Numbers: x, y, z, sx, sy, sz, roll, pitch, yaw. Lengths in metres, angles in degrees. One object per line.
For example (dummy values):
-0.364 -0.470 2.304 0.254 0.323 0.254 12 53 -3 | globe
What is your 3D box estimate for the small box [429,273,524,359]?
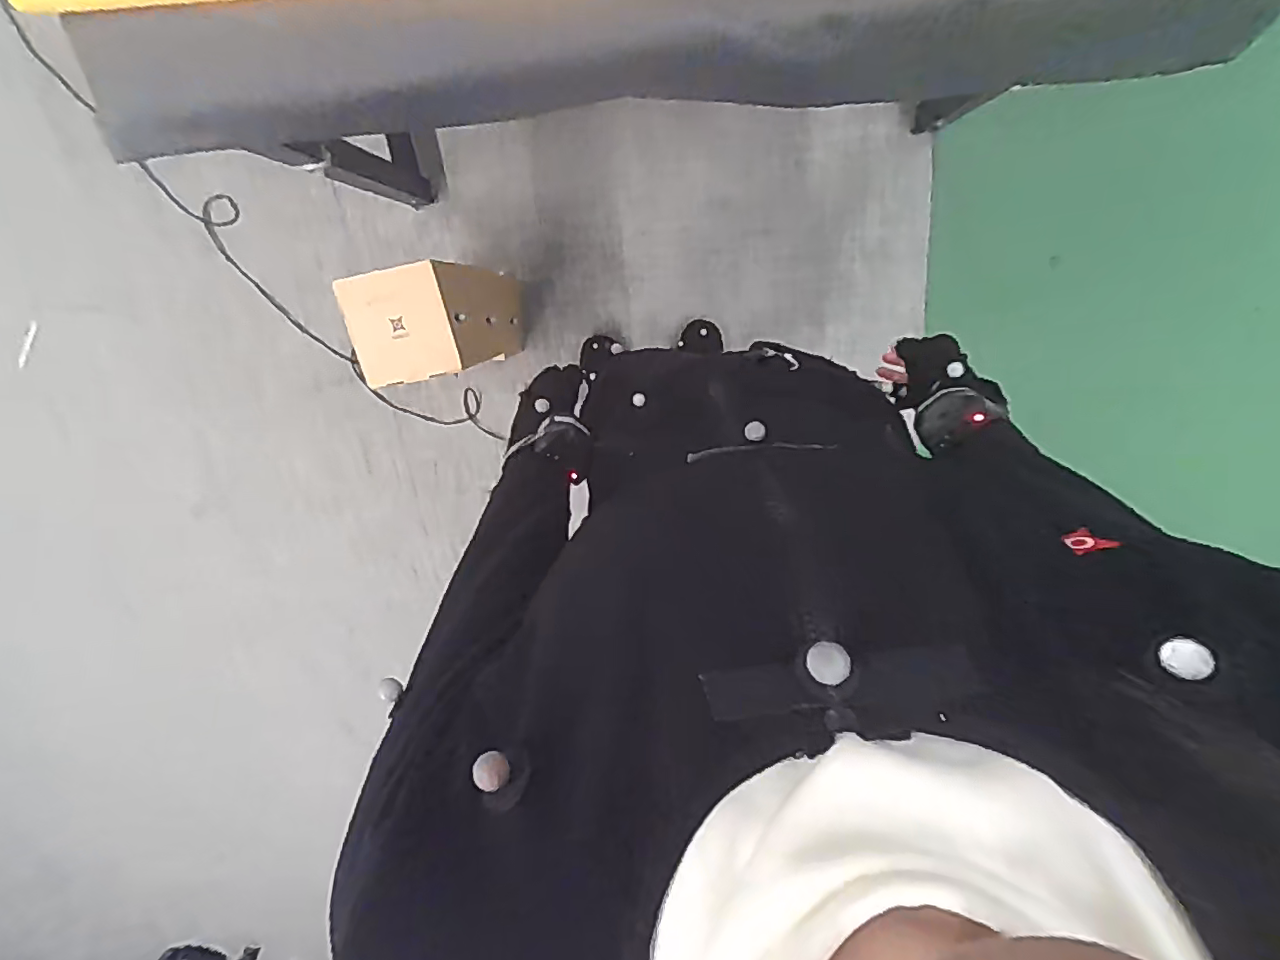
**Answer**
-0.368 -0.381 1.248 0.168 0.176 0.179 2 110 1 | small box
